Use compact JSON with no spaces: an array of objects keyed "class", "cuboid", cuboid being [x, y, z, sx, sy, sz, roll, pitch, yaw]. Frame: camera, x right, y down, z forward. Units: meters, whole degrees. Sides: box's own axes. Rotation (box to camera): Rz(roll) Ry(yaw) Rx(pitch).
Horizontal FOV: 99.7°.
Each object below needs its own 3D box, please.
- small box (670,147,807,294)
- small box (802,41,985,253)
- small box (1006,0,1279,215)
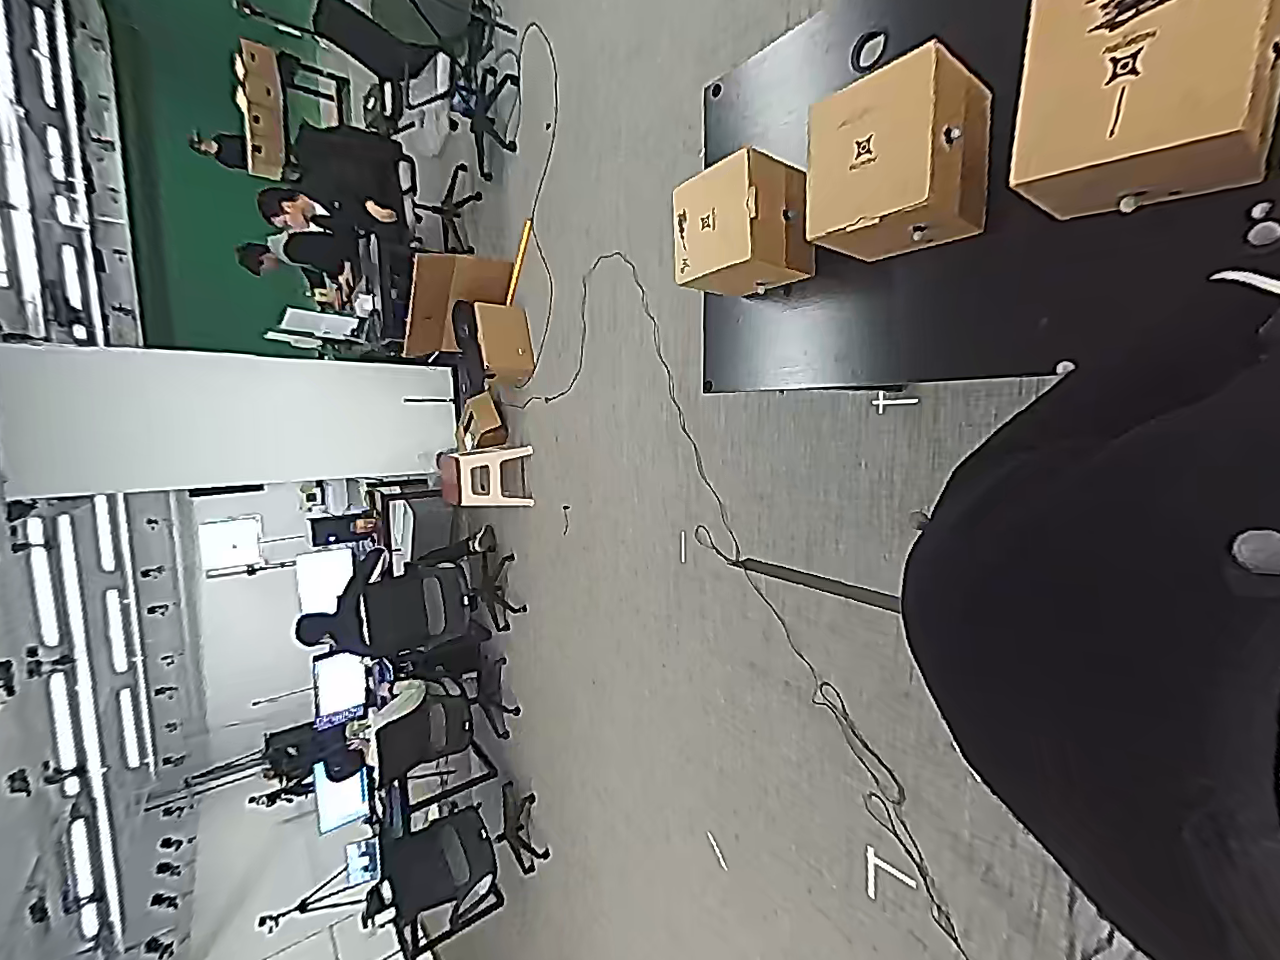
[{"class":"small box","cuboid":[0.172,-0.428,0.923,0.179,0.176,0.168,4,97,51]},{"class":"small box","cuboid":[0.336,-0.415,0.718,0.168,0.176,0.179,6,98,51]},{"class":"small box","cuboid":[0.489,-0.381,0.524,0.168,0.176,0.179,14,106,50]}]
